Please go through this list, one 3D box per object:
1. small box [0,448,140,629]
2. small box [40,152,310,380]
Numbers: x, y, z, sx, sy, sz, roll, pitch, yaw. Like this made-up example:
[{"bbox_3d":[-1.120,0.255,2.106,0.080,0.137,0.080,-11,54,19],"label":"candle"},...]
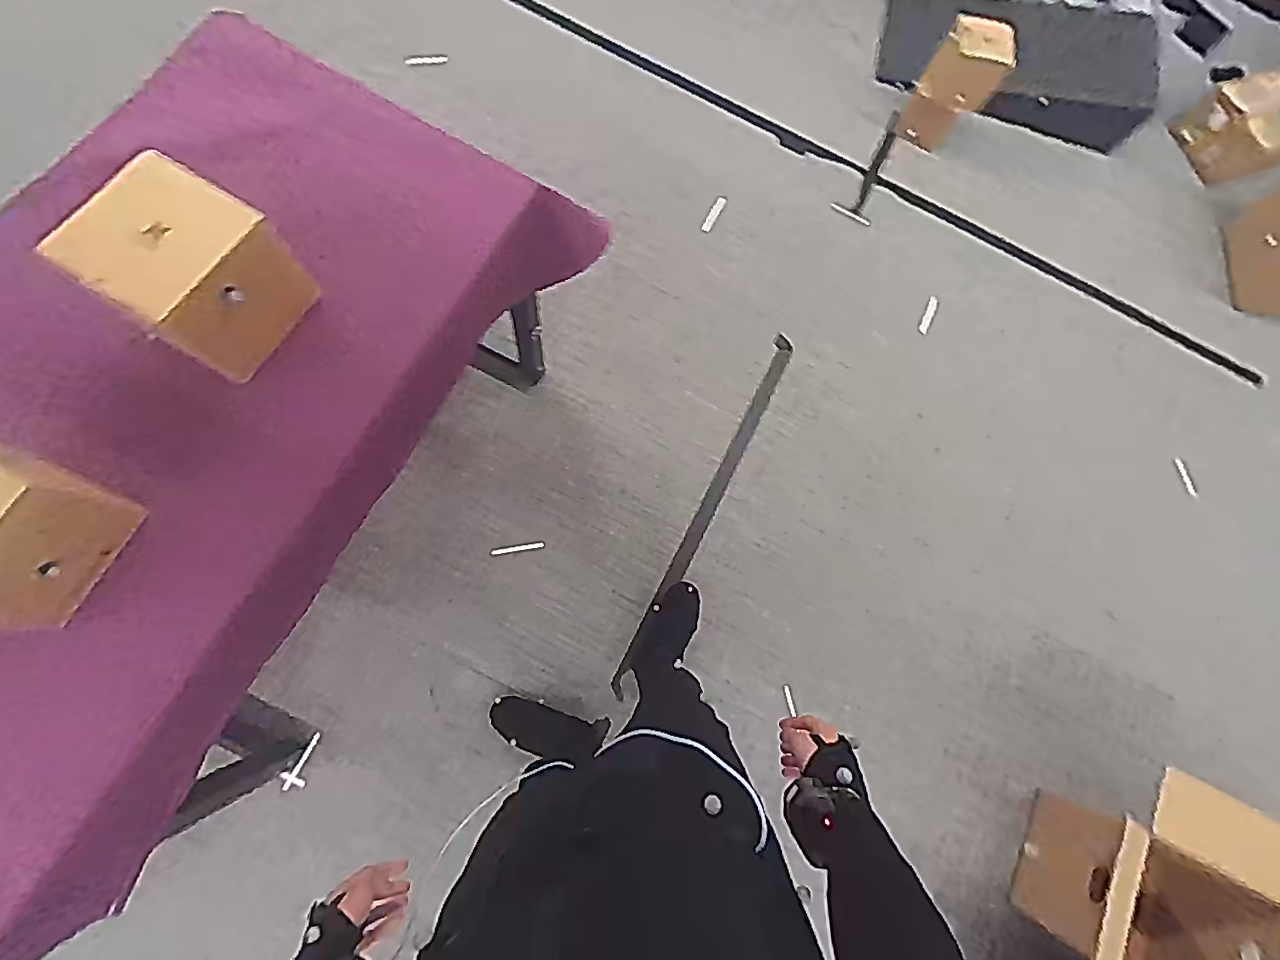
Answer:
[{"bbox_3d":[-0.735,0.057,0.601,0.179,0.176,0.168,26,74,0],"label":"small box"},{"bbox_3d":[-0.571,-0.264,0.702,0.168,0.176,0.179,31,75,1],"label":"small box"}]
